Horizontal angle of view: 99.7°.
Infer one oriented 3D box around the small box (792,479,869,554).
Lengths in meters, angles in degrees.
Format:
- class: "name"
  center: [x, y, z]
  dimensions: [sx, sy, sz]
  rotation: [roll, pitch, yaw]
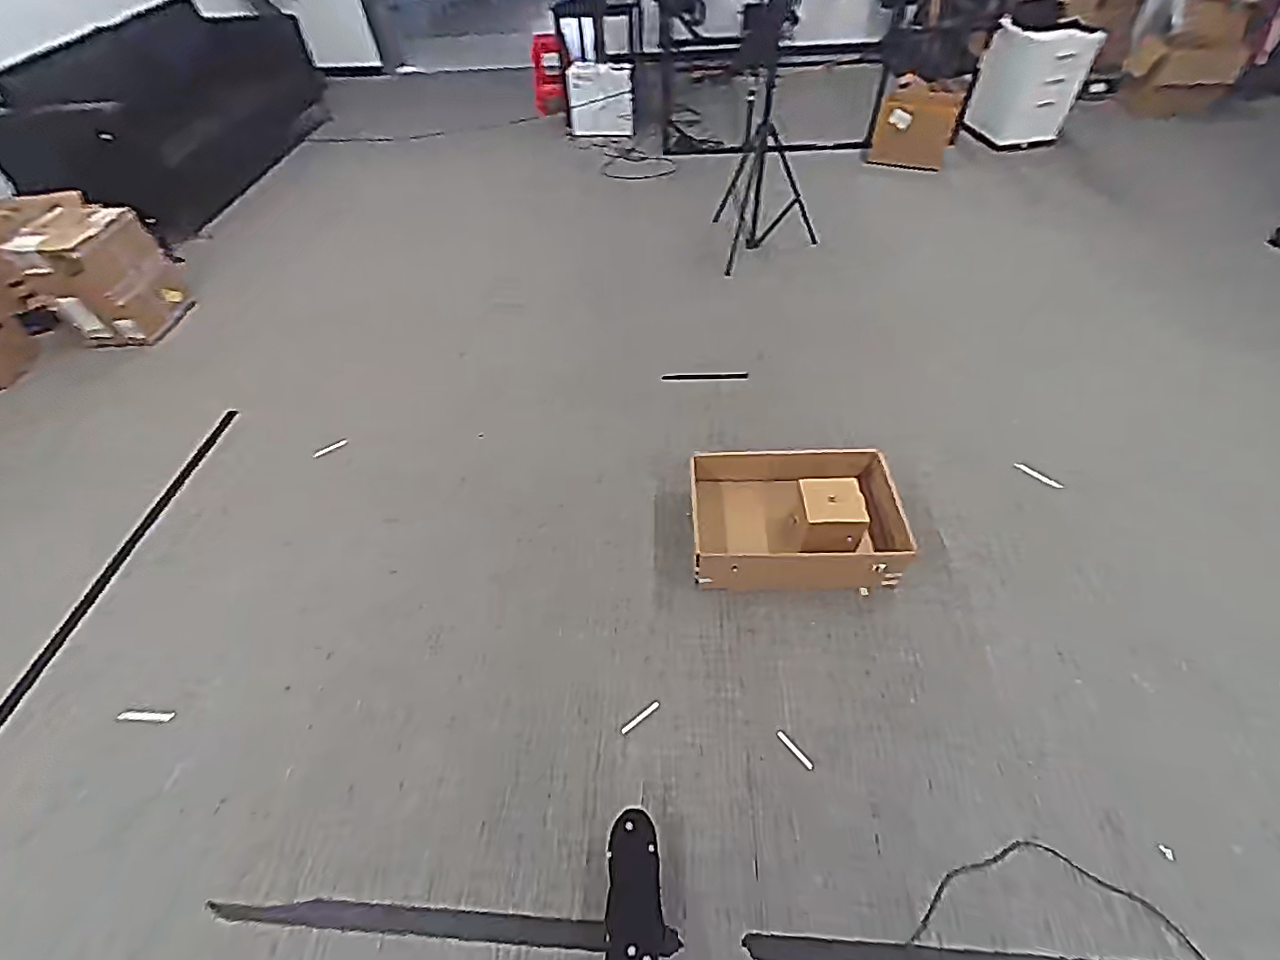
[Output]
- class: "small box"
  center: [0.576, 0.114, 1.657]
  dimensions: [0.179, 0.176, 0.168]
  rotation: [-3, 49, 4]
